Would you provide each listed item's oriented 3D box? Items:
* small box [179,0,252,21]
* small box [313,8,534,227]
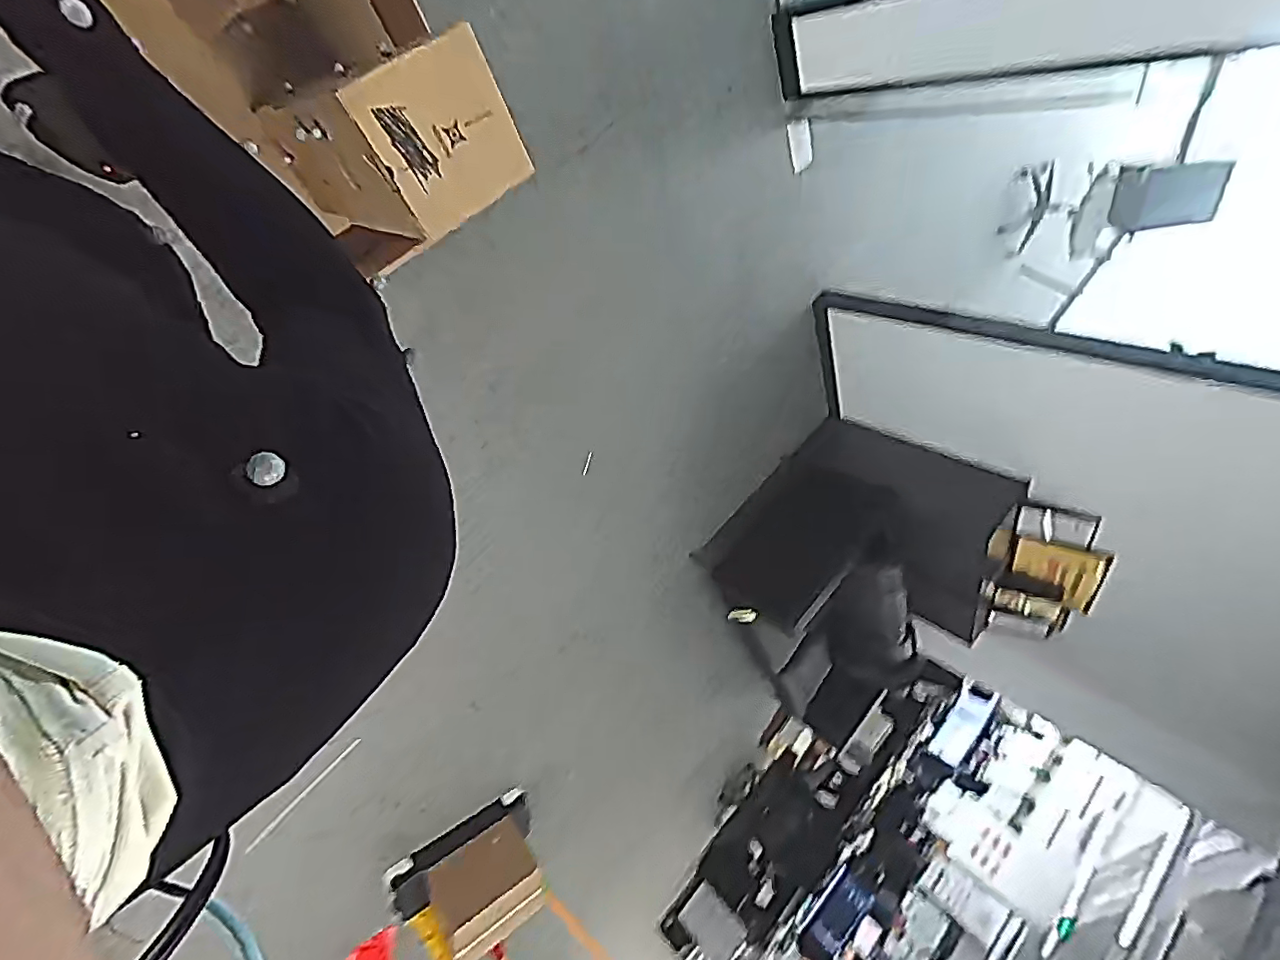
[{"bbox_3d":[-0.569,-0.741,0.701,0.168,0.176,0.179,-44,139,-16],"label":"small box"},{"bbox_3d":[-0.272,-0.442,0.674,0.179,0.176,0.168,-43,138,-17],"label":"small box"}]
